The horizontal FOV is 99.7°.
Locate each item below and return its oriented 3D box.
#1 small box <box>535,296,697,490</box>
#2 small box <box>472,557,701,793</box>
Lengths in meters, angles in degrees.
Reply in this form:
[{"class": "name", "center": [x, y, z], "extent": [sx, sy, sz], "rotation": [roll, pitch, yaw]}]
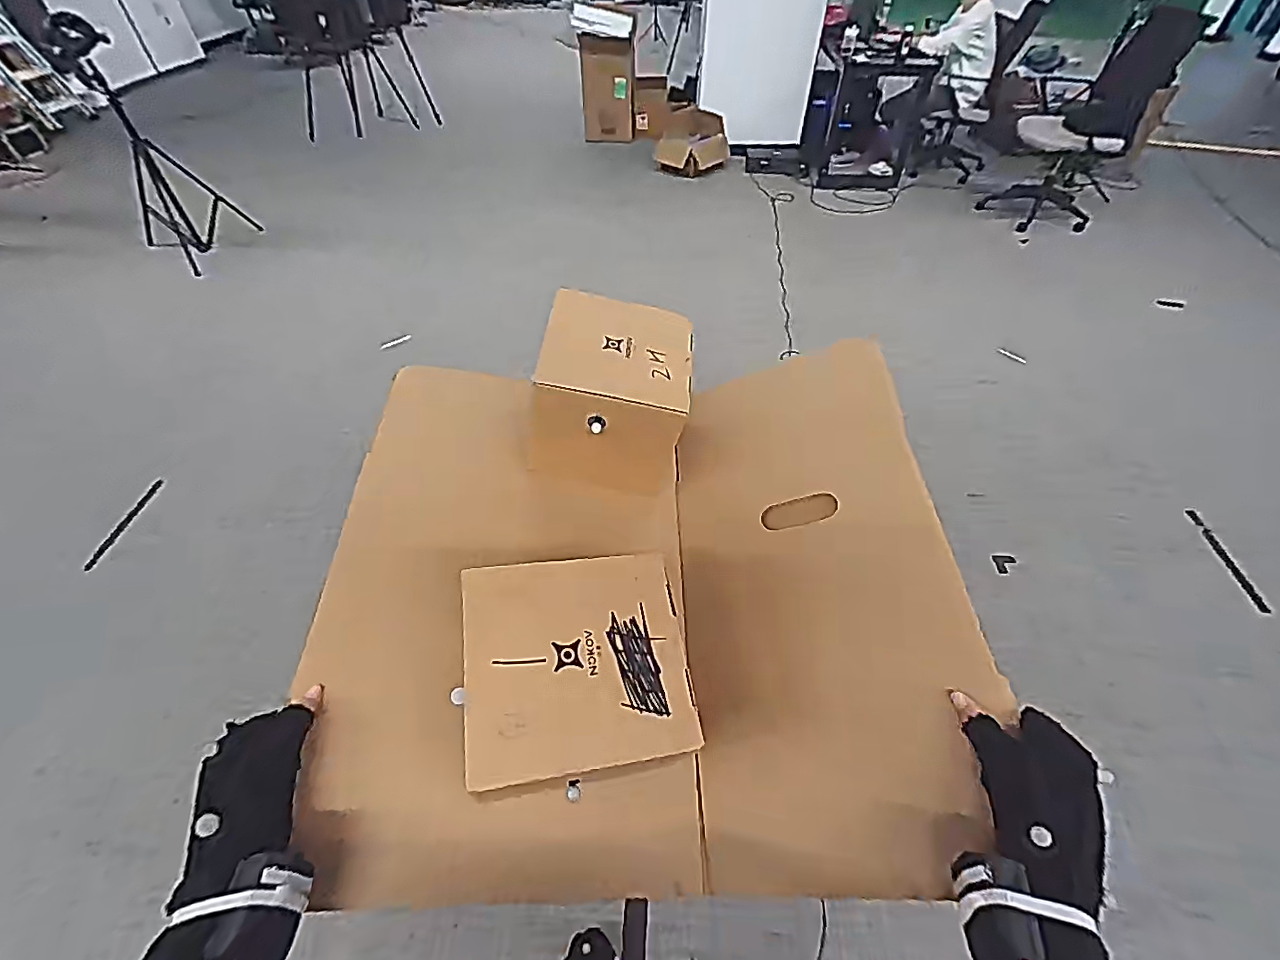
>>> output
[{"class": "small box", "center": [-0.035, -0.105, 0.705], "extent": [0.179, 0.176, 0.168], "rotation": [12, 55, -7]}, {"class": "small box", "center": [-0.063, 0.184, 0.506], "extent": [0.179, 0.176, 0.168], "rotation": [-2, 58, -15]}]
